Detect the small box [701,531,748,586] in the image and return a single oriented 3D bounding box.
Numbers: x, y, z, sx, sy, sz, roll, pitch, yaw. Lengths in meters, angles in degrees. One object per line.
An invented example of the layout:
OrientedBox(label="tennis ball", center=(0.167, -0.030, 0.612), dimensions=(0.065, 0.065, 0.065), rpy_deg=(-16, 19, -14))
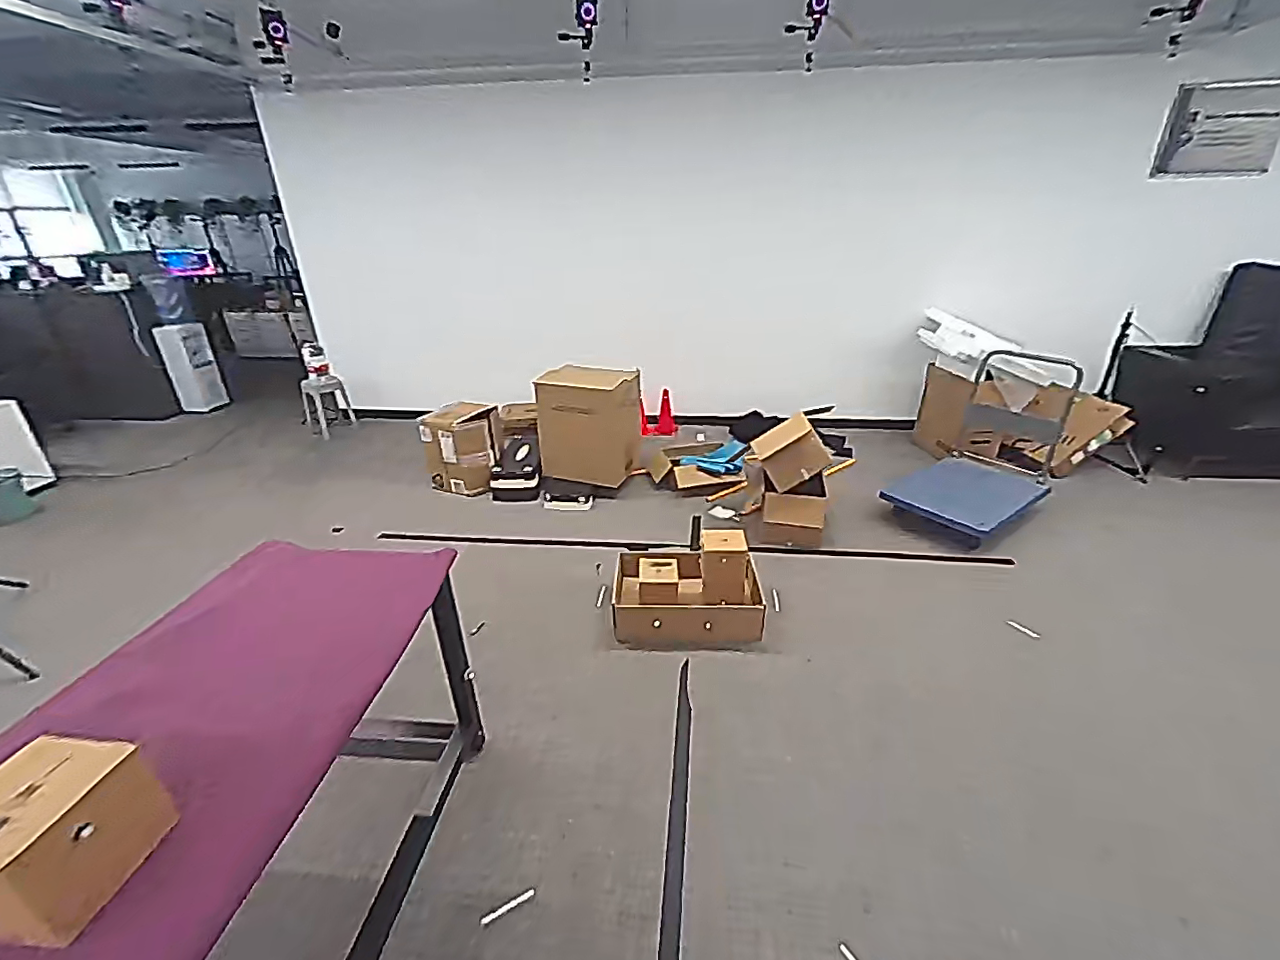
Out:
OrientedBox(label="small box", center=(0.351, 0.329, 2.258), dimensions=(0.179, 0.176, 0.168), rpy_deg=(-1, 25, 3))

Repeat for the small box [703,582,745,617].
OrientedBox(label="small box", center=(0.358, 0.476, 2.329), dimensions=(0.168, 0.176, 0.179), rpy_deg=(0, 24, 3))

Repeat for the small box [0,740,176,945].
OrientedBox(label="small box", center=(-0.809, 0.497, 0.750), dimensions=(0.168, 0.176, 0.179), rpy_deg=(2, 25, 6))
